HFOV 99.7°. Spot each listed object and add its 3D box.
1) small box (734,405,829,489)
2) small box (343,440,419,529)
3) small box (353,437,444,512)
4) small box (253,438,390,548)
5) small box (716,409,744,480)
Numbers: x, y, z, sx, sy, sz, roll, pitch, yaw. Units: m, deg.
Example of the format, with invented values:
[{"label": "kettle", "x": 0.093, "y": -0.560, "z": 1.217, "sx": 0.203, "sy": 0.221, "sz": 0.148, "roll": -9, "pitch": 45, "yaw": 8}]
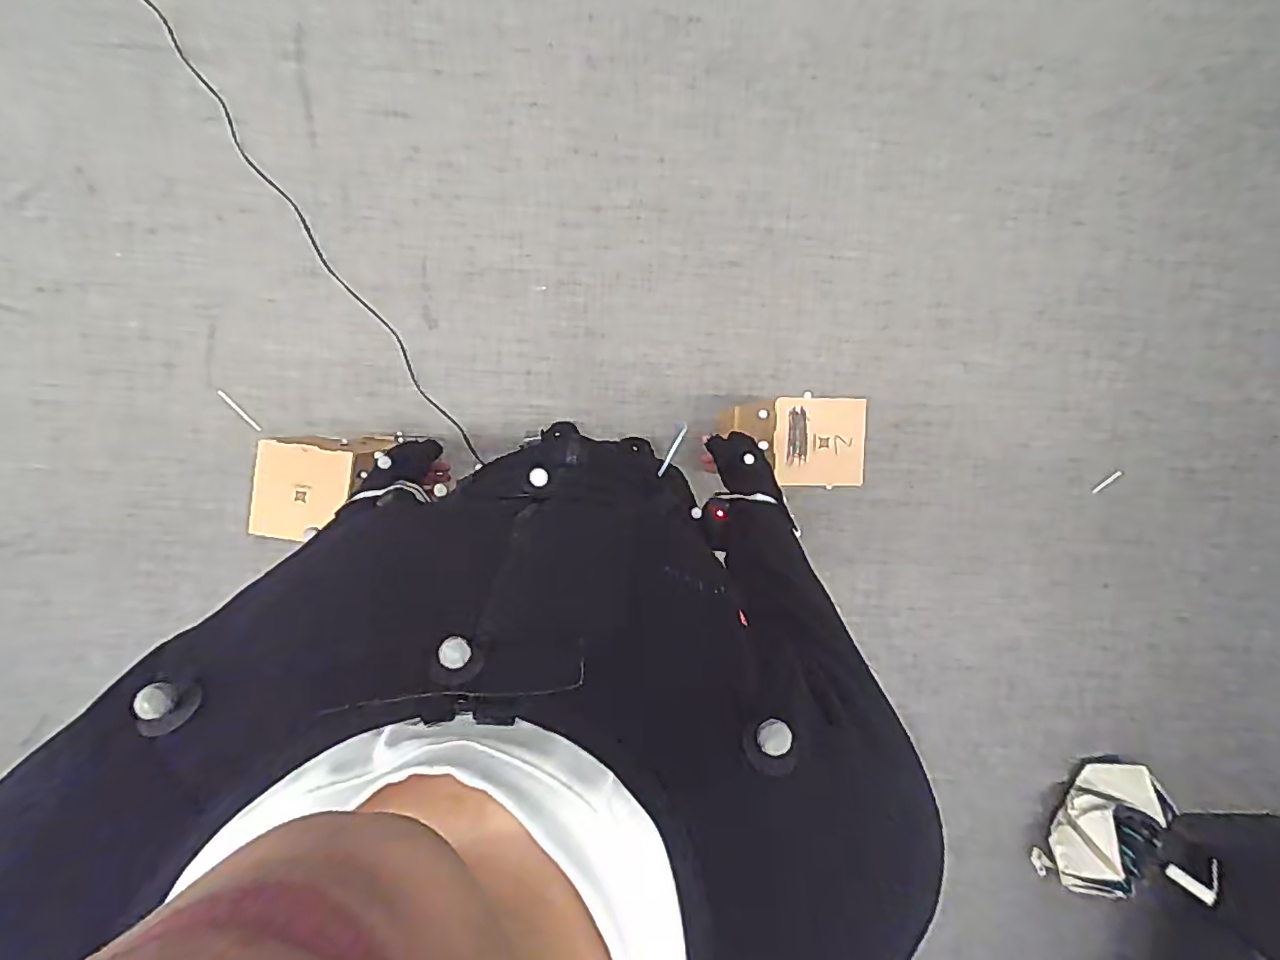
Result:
[{"label": "small box", "x": 0.322, "y": -0.079, "z": 1.260, "sx": 0.168, "sy": 0.176, "sz": 0.179, "roll": 4, "pitch": 96, "yaw": -4}, {"label": "small box", "x": -0.607, "y": 0.003, "z": 1.212, "sx": 0.168, "sy": 0.176, "sz": 0.179, "roll": 5, "pitch": 97, "yaw": -4}, {"label": "small box", "x": -0.611, "y": -0.018, "z": 1.377, "sx": 0.168, "sy": 0.176, "sz": 0.179, "roll": 2, "pitch": 94, "yaw": 0}, {"label": "small box", "x": -0.606, "y": 0.018, "z": 1.050, "sx": 0.168, "sy": 0.176, "sz": 0.179, "roll": 10, "pitch": 94, "yaw": -4}, {"label": "small box", "x": 0.301, "y": -0.093, "z": 1.422, "sx": 0.168, "sy": 0.176, "sz": 0.179, "roll": 4, "pitch": 95, "yaw": -4}]
